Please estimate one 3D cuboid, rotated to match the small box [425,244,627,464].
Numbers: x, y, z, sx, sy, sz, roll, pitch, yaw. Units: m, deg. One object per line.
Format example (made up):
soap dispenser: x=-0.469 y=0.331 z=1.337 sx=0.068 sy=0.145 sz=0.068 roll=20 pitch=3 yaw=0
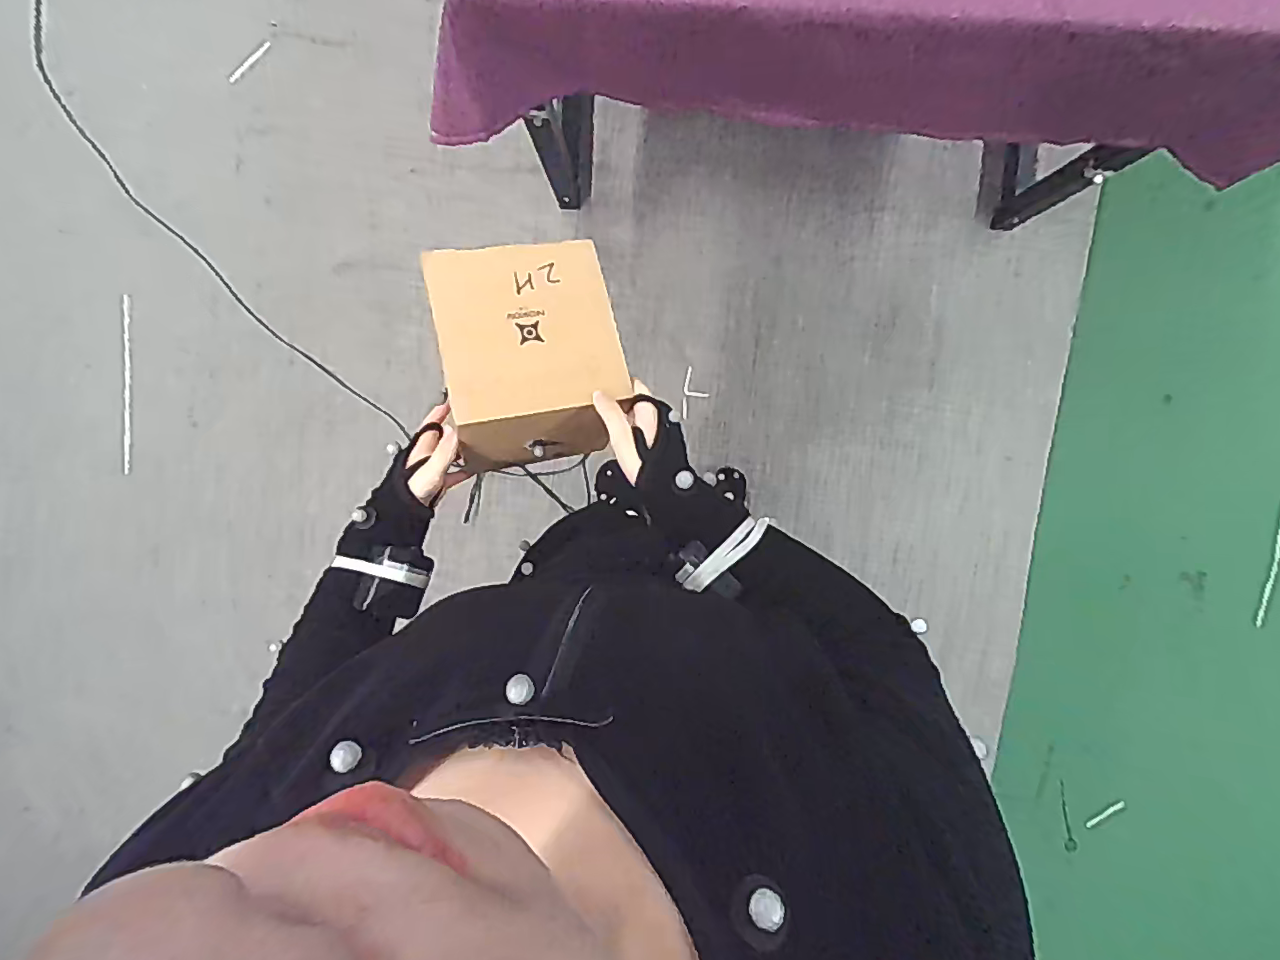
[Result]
small box: x=-0.125 y=-0.124 z=0.584 sx=0.168 sy=0.176 sz=0.179 roll=-10 pitch=78 yaw=-17
